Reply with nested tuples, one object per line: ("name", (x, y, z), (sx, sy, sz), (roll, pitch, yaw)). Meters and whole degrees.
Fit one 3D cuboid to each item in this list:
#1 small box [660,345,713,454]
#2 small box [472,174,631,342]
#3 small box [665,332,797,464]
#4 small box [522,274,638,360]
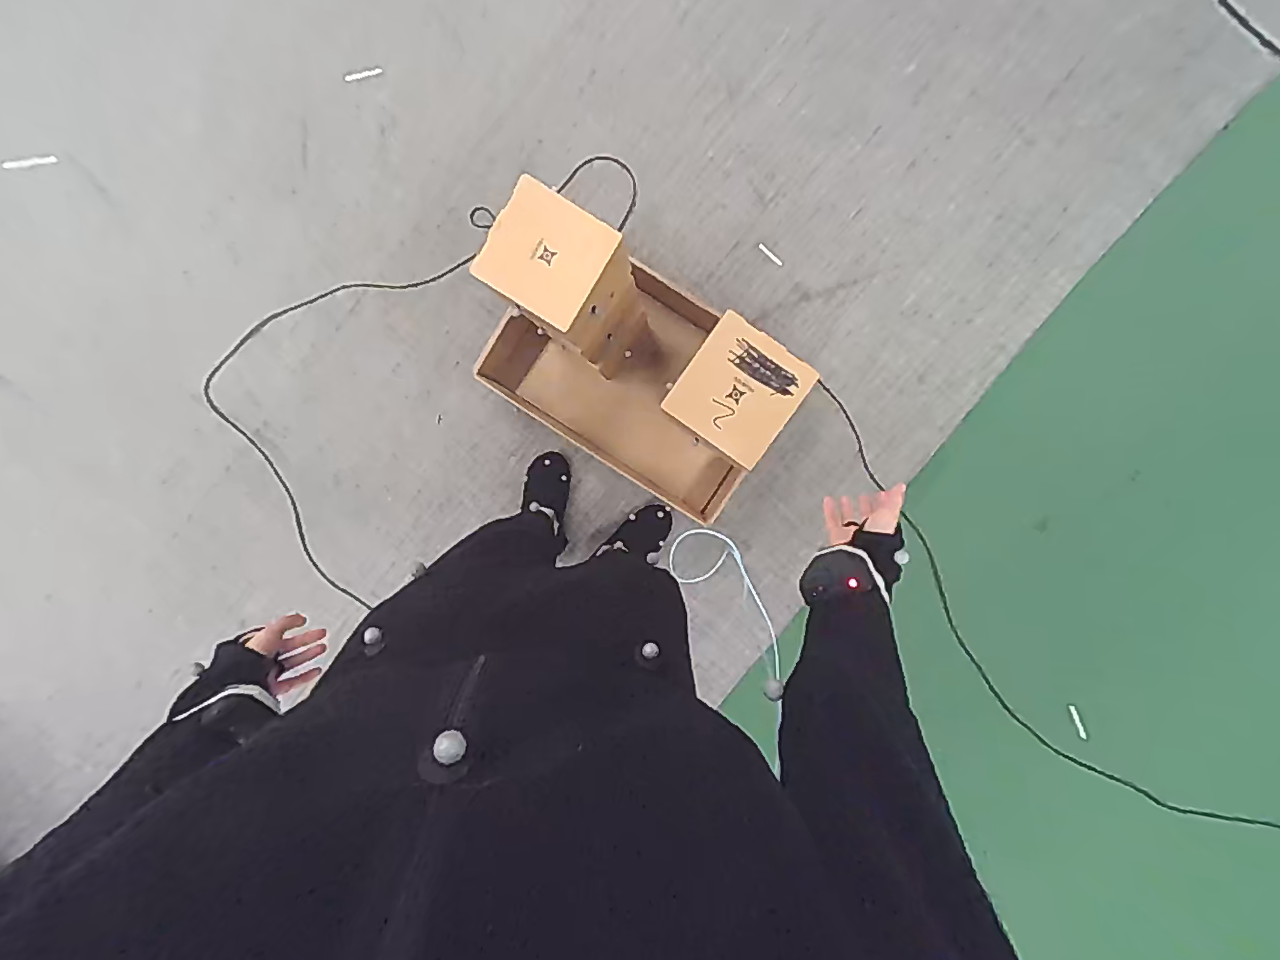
("small box", (0.160, -0.164, 1.189), (0.179, 0.176, 0.168), (38, 94, 1))
("small box", (-0.128, -0.339, 0.868), (0.179, 0.176, 0.168), (33, 96, 1))
("small box", (0.164, -0.146, 1.025), (0.168, 0.176, 0.179), (37, 93, 0))
("small box", (-0.121, -0.349, 1.030), (0.179, 0.176, 0.168), (38, 95, -1))
